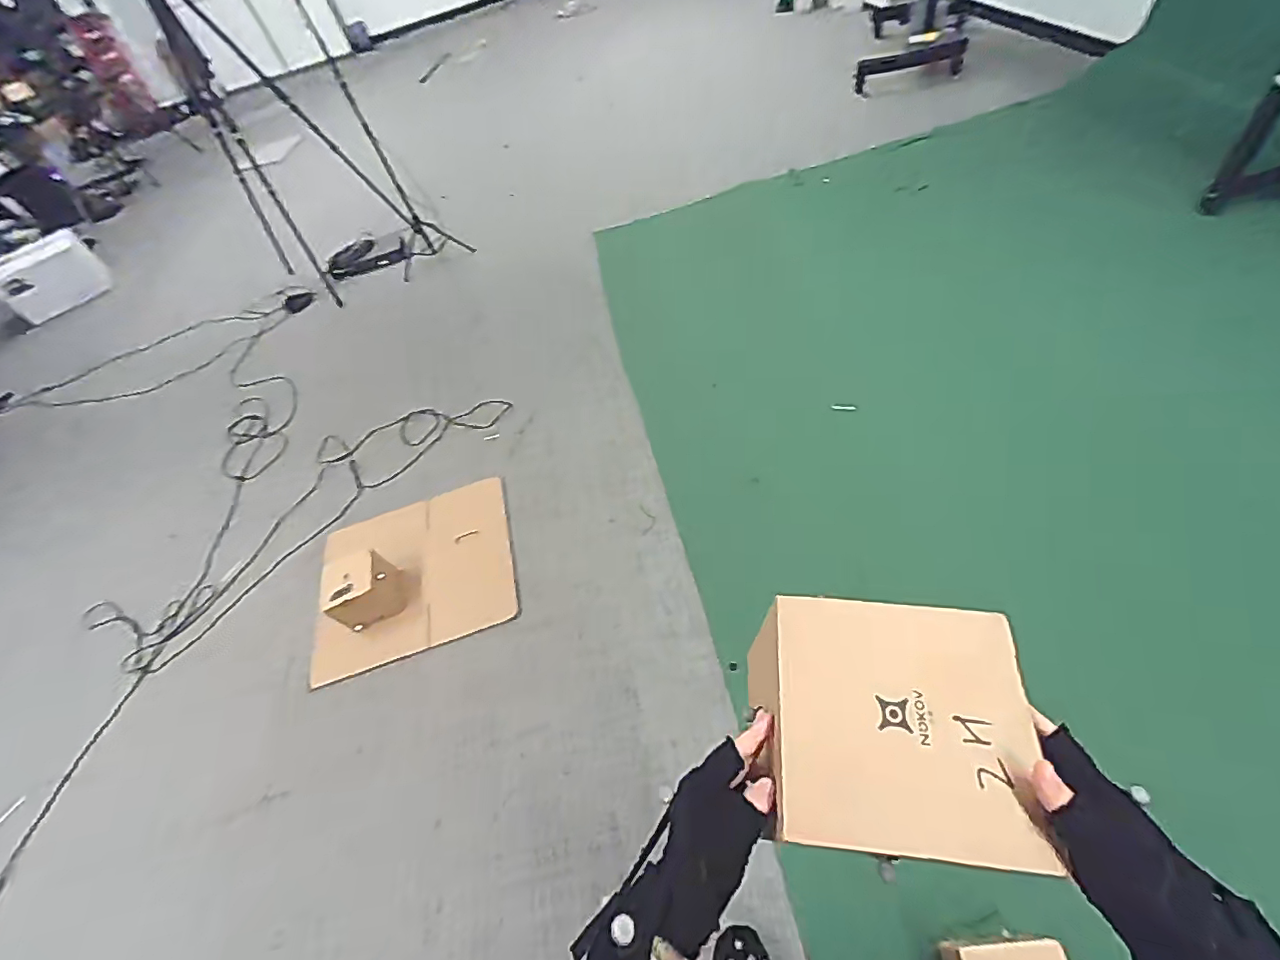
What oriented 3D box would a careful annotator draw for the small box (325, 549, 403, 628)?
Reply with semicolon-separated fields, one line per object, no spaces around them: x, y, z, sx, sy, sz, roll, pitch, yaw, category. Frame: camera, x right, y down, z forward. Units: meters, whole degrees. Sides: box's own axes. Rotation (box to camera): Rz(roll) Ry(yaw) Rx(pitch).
-0.891;0.360;1.760;0.168;0.176;0.179;-23;50;-2;small box

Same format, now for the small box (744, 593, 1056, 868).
0.181;0.206;0.445;0.179;0.176;0.168;3;58;5;small box
